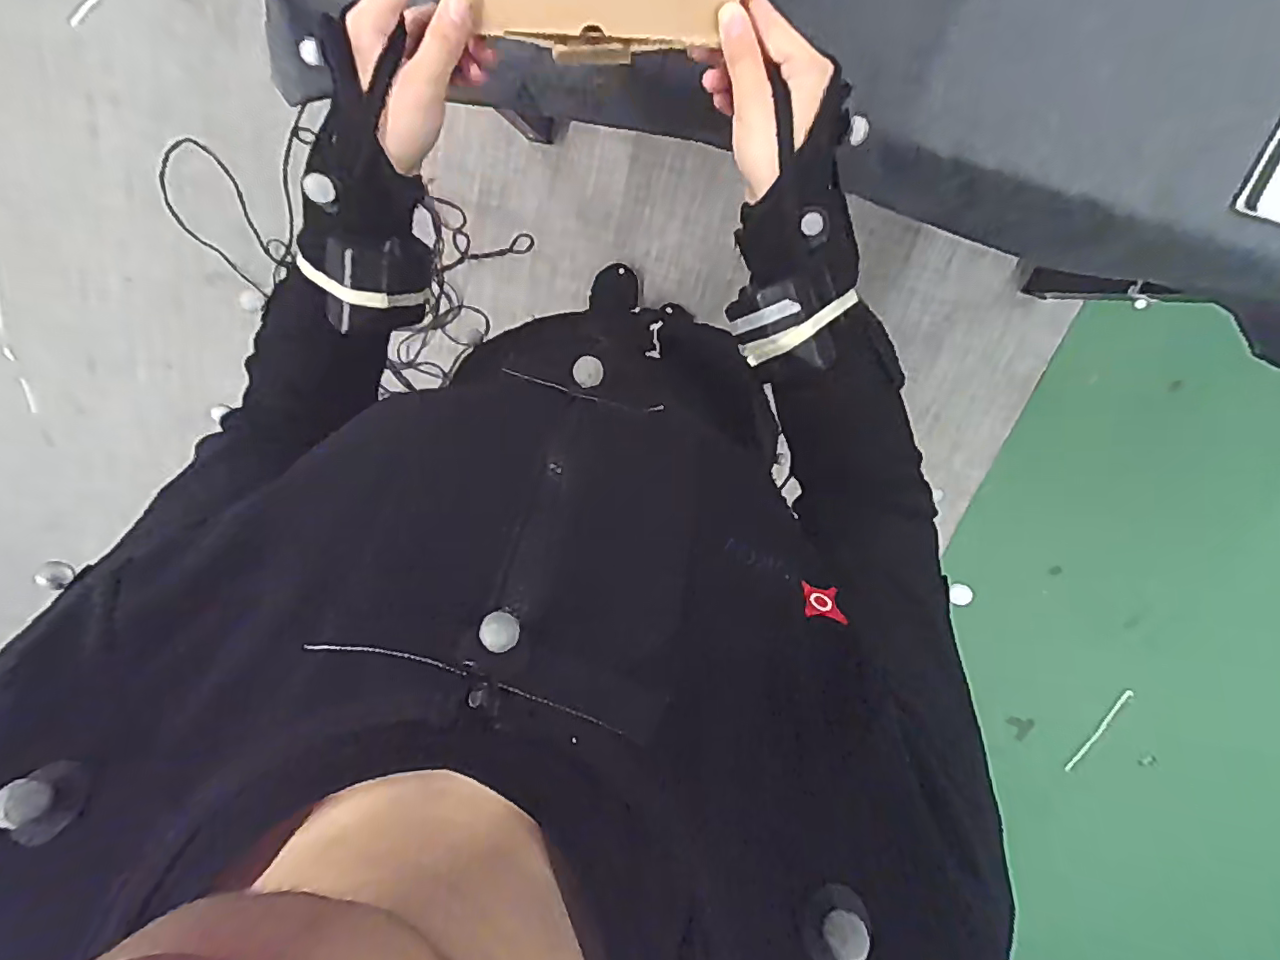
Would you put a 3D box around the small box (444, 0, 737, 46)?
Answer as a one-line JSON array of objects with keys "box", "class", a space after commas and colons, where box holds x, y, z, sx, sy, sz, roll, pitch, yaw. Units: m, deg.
[{"box": [-0.024, -0.370, 0.293, 0.168, 0.176, 0.179, 1, 141, -2], "class": "small box"}]
